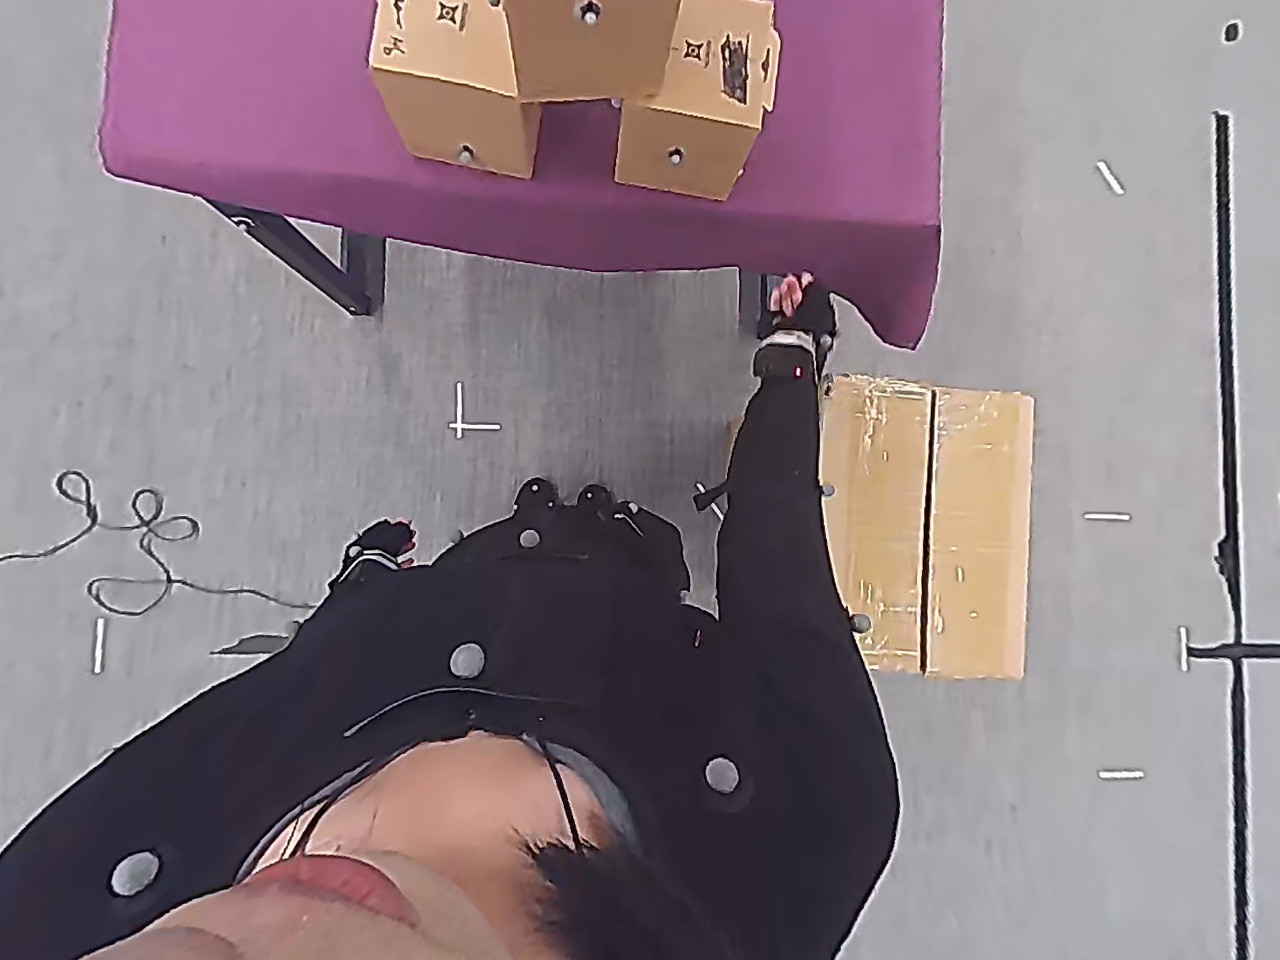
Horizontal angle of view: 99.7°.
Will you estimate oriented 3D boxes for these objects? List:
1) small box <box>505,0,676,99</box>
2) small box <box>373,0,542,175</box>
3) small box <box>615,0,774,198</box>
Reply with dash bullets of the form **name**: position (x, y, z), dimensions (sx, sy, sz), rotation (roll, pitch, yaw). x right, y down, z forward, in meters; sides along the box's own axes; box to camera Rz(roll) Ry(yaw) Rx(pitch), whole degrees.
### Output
- **small box**: position (-0.058, -0.540, 0.571), dimensions (0.179, 0.176, 0.168), rotation (-8, 90, -7)
- **small box**: position (-0.224, -0.539, 0.717), dimensions (0.179, 0.176, 0.168), rotation (8, 86, -7)
- **small box**: position (0.066, -0.521, 0.748), dimensions (0.179, 0.176, 0.168), rotation (7, 86, -5)
